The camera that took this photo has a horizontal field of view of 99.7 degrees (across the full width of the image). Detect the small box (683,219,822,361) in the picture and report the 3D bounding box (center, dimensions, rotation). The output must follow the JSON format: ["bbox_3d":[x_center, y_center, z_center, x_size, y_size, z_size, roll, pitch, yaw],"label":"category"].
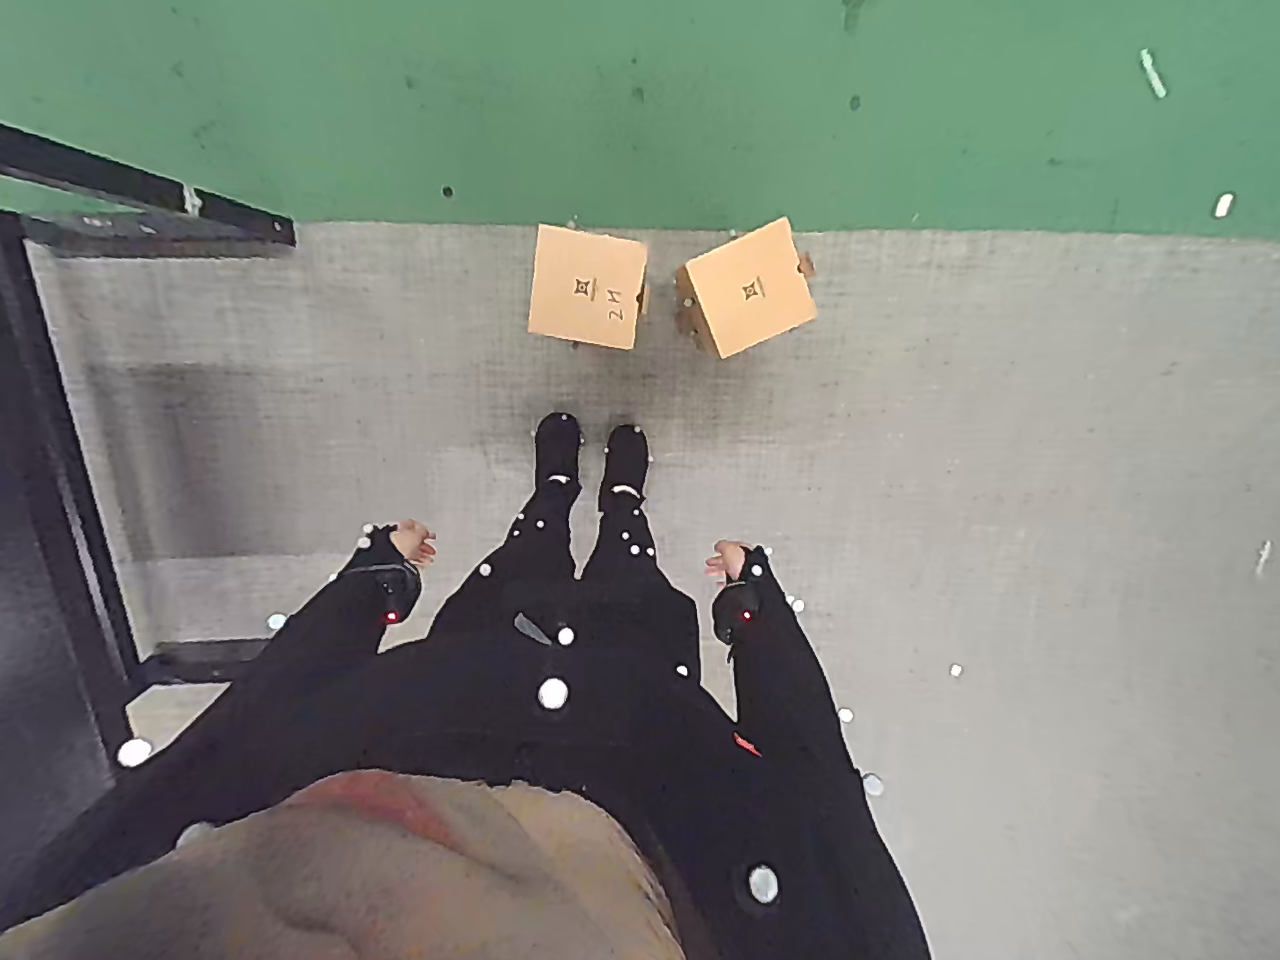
[{"bbox_3d":[0.181,-0.319,0.932,0.179,0.176,0.168,-24,106,4],"label":"small box"}]

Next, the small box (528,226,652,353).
[{"bbox_3d":[-0.081,-0.314,0.918,0.179,0.176,0.168,9,105,-4],"label":"small box"}]
